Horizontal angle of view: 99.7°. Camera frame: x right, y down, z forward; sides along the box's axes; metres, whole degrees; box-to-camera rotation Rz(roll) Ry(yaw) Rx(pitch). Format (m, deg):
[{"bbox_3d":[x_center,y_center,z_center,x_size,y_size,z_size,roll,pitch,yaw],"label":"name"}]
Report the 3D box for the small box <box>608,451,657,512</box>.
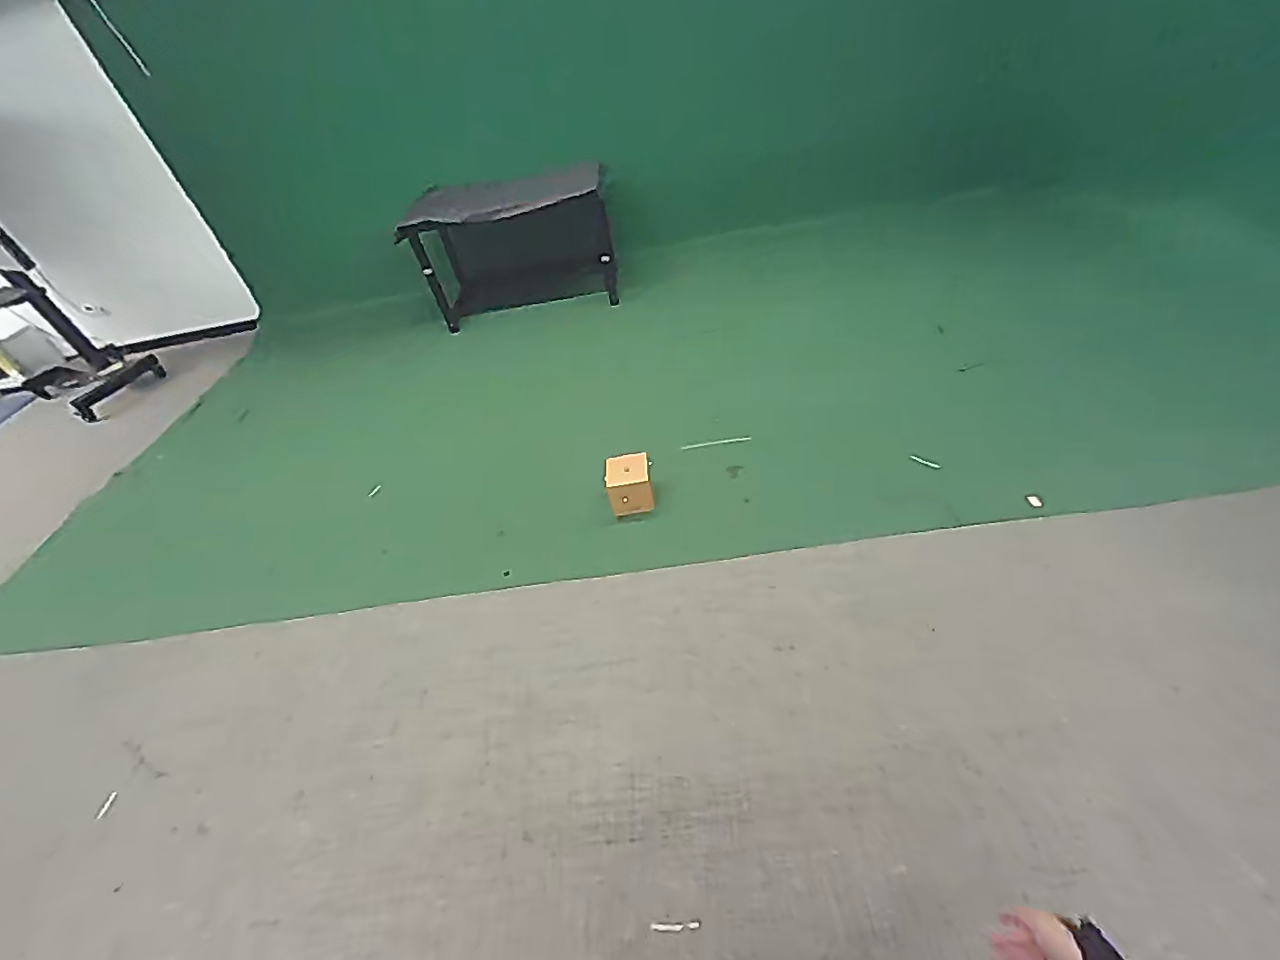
[{"bbox_3d":[-0.029,0.012,2.150,0.168,0.176,0.179,-10,41,6],"label":"small box"}]
